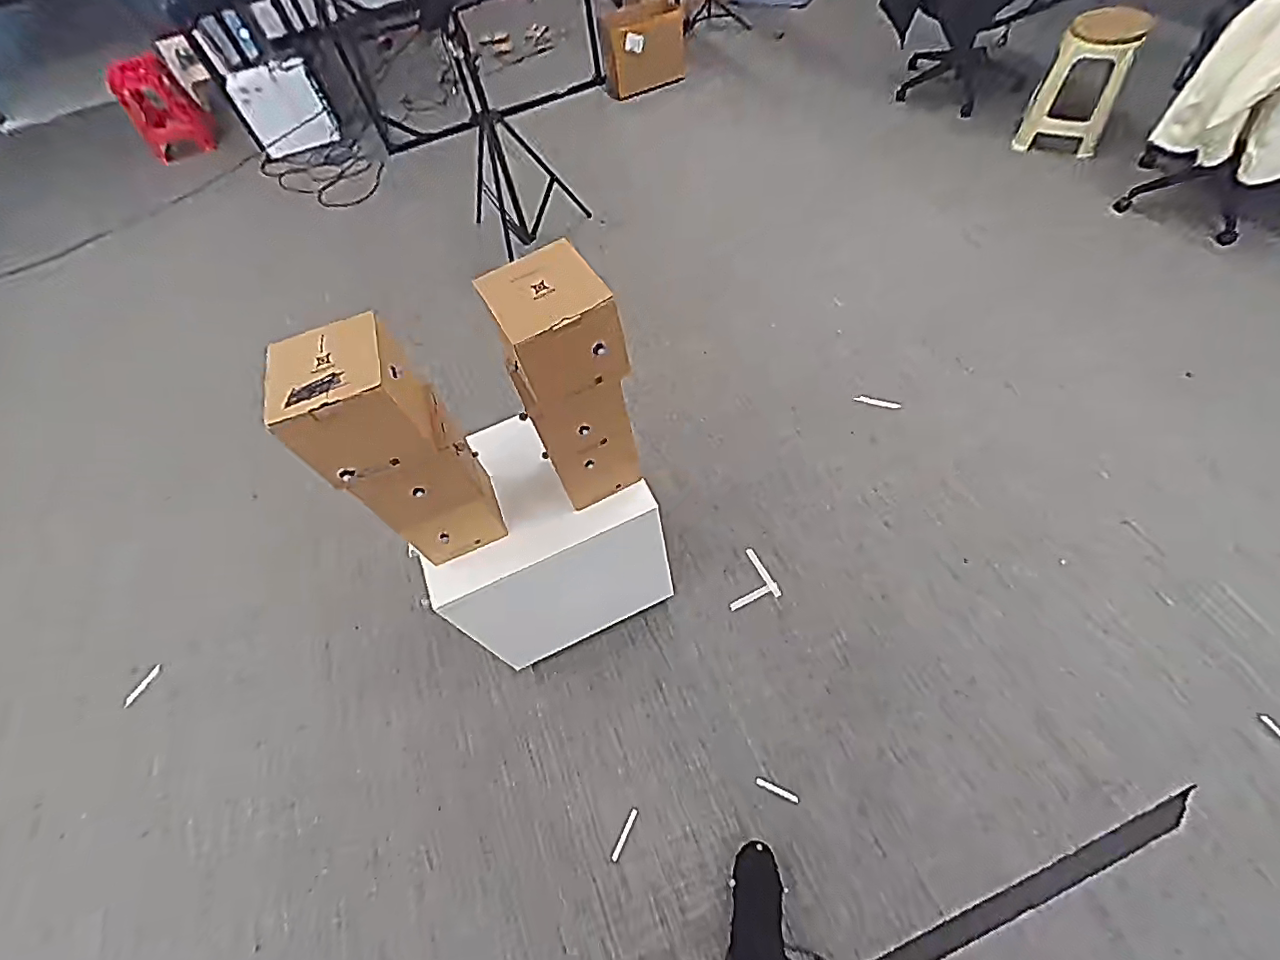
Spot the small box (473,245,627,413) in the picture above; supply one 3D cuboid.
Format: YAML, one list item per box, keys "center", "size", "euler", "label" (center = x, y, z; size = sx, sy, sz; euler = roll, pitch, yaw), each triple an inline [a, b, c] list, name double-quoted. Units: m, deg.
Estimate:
- center: [-0.136, -0.232, 0.869]
  size: [0.168, 0.176, 0.179]
  euler: [-30, 59, -10]
  label: "small box"

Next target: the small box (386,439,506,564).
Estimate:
- center: [-0.395, 0.054, 1.120]
  size: [0.168, 0.176, 0.179]
  euler: [-23, 58, -7]
  label: "small box"

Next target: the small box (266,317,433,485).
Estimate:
- center: [-0.440, -0.113, 0.839]
  size: [0.168, 0.176, 0.179]
  euler: [-21, 57, -5]
  label: "small box"

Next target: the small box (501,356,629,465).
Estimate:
- center: [-0.133, -0.150, 1.010]
  size: [0.168, 0.176, 0.179]
  euler: [-26, 58, -7]
  label: "small box"

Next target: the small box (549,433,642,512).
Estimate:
- center: [-0.112, -0.064, 1.149]
  size: [0.168, 0.176, 0.179]
  euler: [-27, 58, -7]
  label: "small box"
